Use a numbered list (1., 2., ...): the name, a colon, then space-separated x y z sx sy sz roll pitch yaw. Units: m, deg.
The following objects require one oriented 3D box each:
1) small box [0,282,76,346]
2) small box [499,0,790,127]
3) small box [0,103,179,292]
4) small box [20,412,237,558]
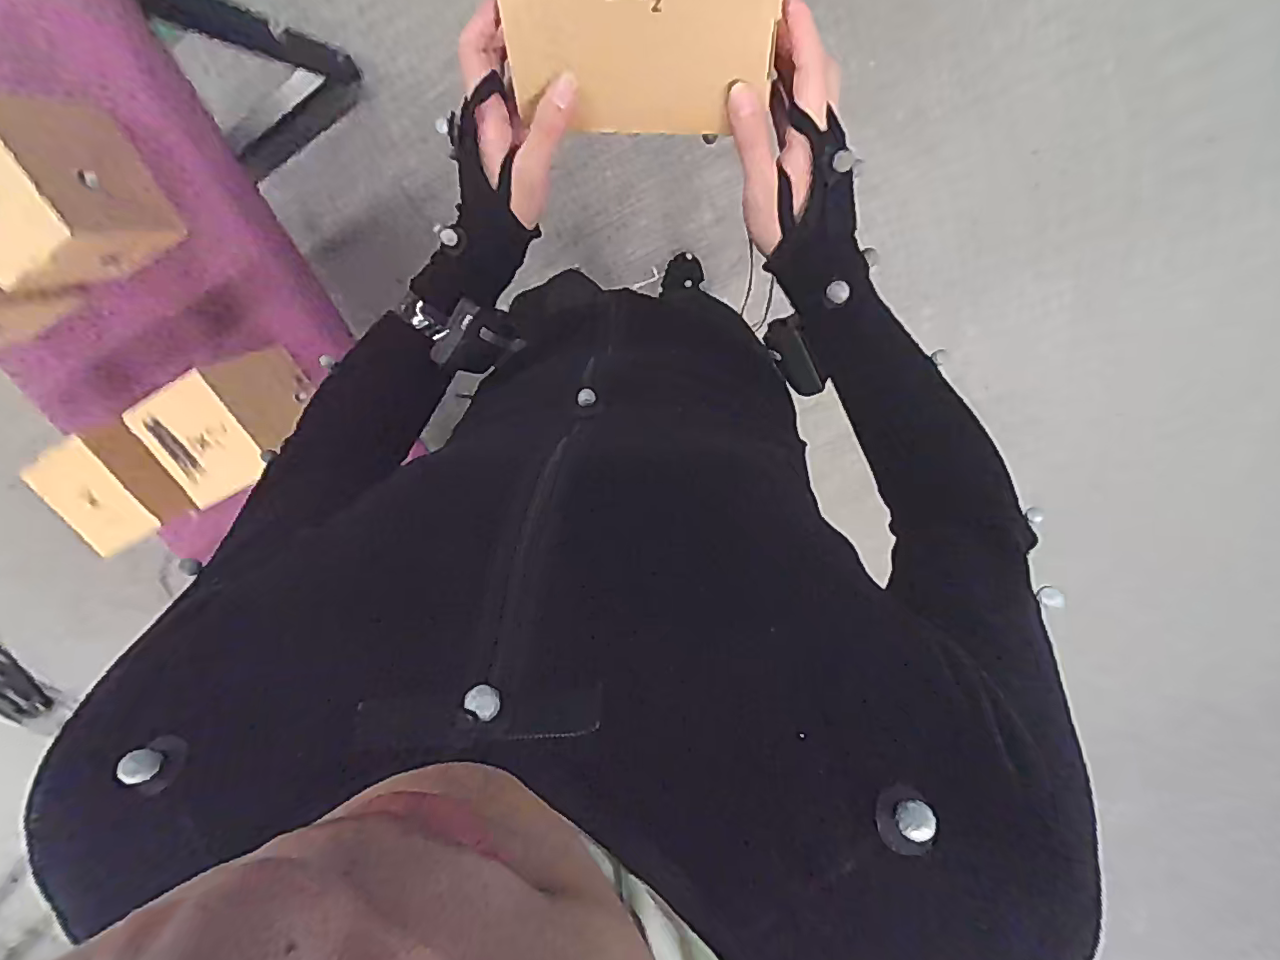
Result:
1. small box: -1.022 -0.299 0.806 0.179 0.176 0.168 -20 111 19
2. small box: 0.014 -0.353 0.352 0.179 0.176 0.168 7 141 8
3. small box: -0.797 -0.381 0.733 0.168 0.176 0.179 -19 113 17
4. small box: -0.865 -0.002 0.932 0.168 0.176 0.179 -23 111 18
